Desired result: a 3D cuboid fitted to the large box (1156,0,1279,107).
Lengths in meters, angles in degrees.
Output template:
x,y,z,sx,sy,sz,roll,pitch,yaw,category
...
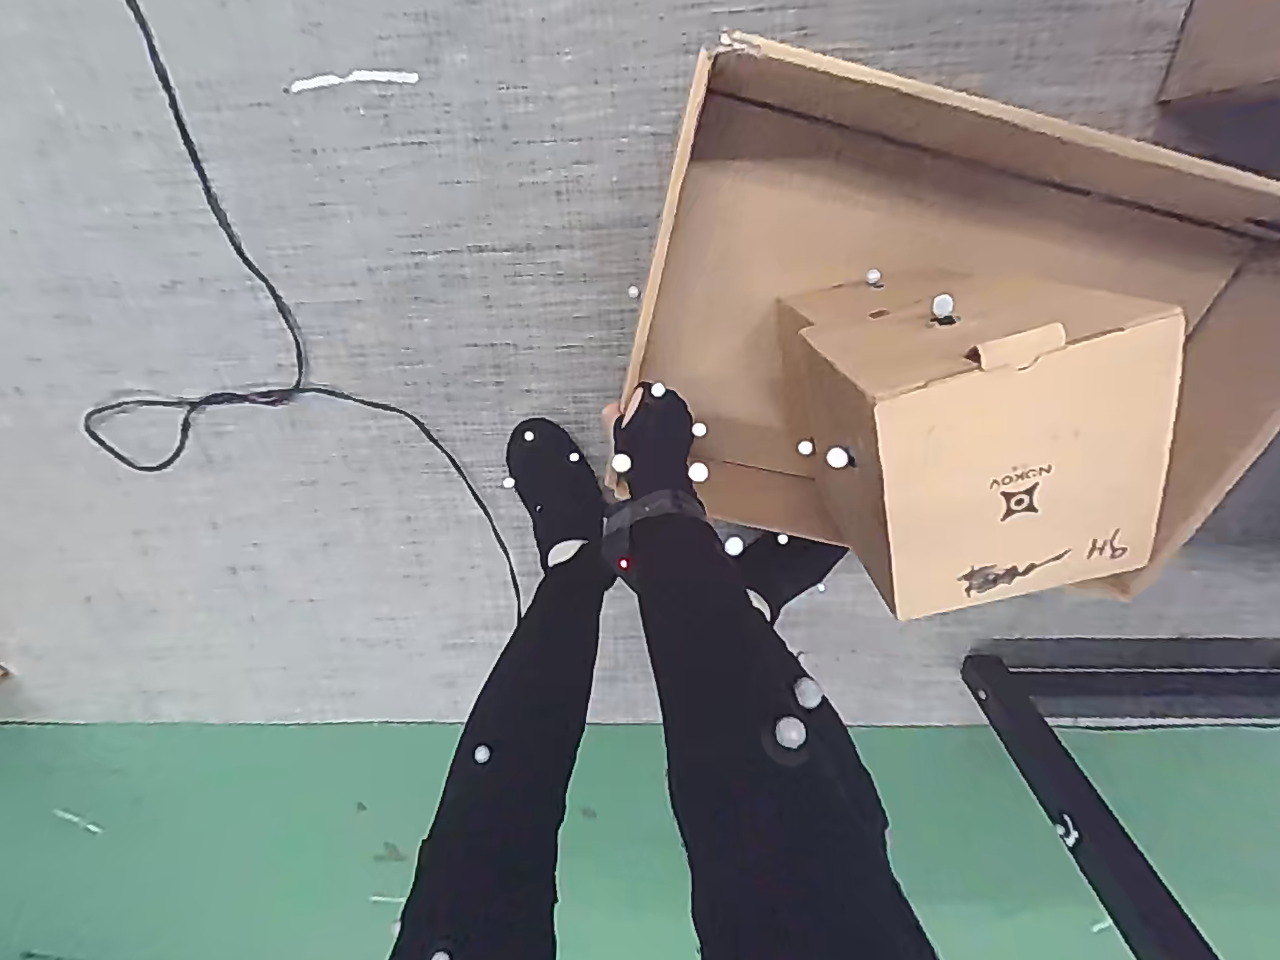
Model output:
x,y,z,sx,sy,sz,roll,pitch,yaw,category
0.703,-0.449,0.338,0.408,0.320,0.320,-1,117,5,large box
